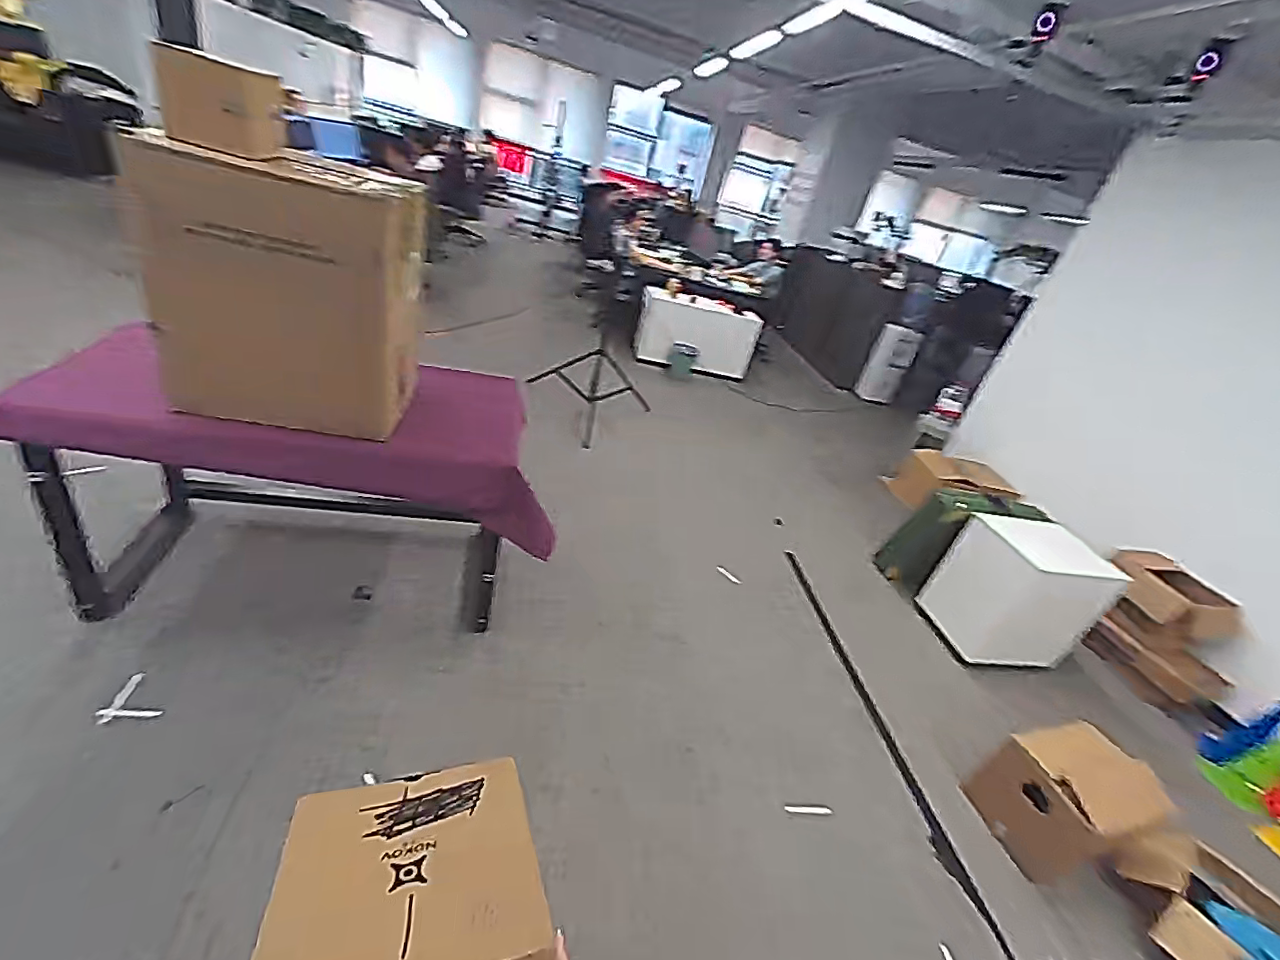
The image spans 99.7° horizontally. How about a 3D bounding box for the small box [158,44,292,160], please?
[{"bbox_3d":[-0.895,-0.818,1.188,0.179,0.176,0.168,10,30,-12],"label":"small box"}]
